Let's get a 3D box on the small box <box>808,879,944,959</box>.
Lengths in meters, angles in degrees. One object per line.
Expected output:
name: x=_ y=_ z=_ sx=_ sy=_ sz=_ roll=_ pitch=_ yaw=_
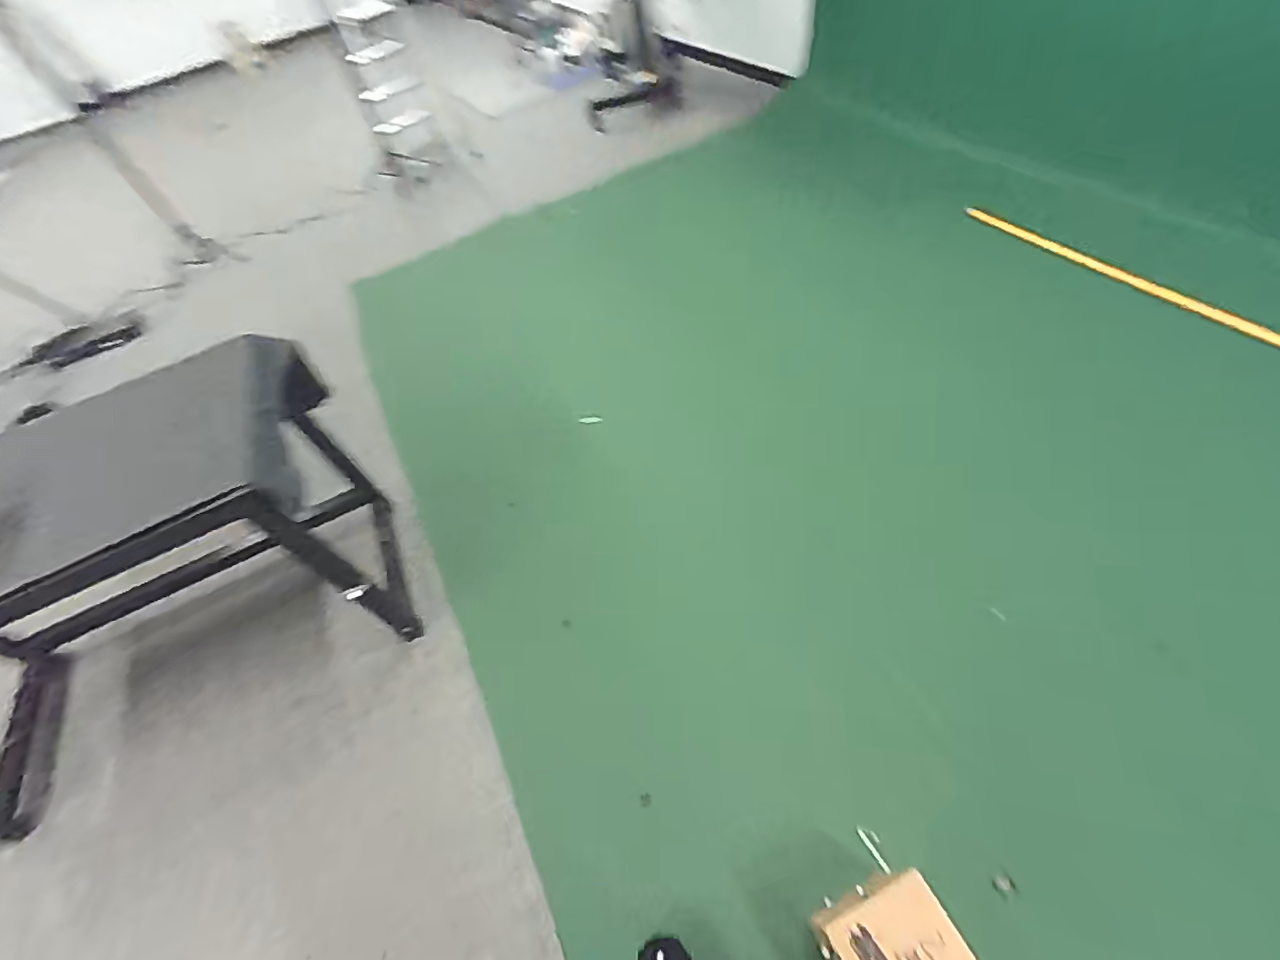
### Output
small box: x=0.425 y=0.854 z=0.976 sx=0.179 sy=0.176 sz=0.168 roll=-25 pitch=52 yaw=-8
